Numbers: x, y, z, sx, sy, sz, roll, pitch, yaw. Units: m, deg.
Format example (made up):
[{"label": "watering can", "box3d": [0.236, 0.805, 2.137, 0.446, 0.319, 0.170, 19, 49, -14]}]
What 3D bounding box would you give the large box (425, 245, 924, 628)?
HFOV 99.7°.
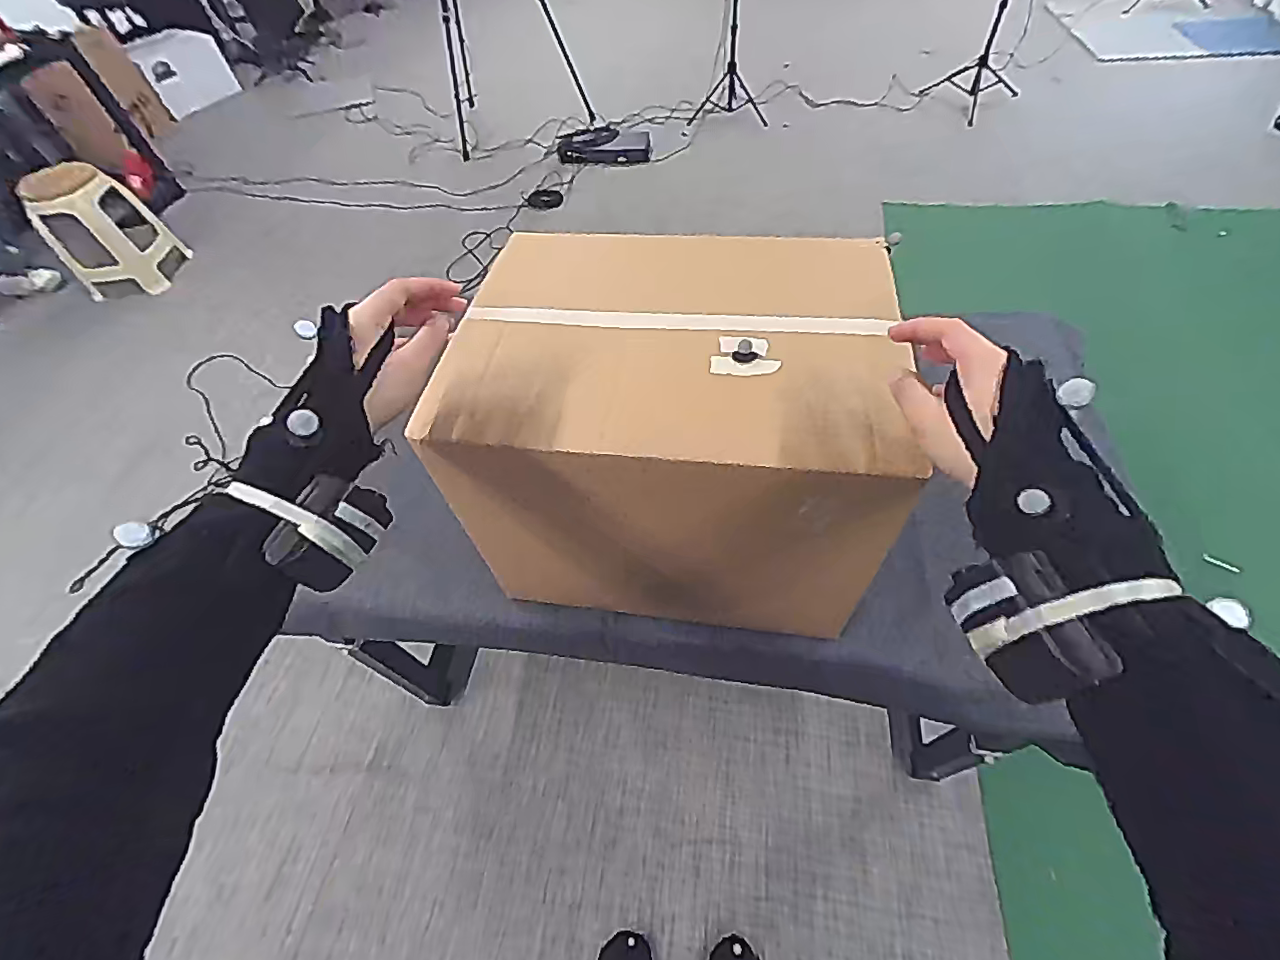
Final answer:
[{"label": "large box", "box3d": [0.043, -0.048, 0.628, 0.408, 0.320, 0.320, 5, 54, 8]}]
